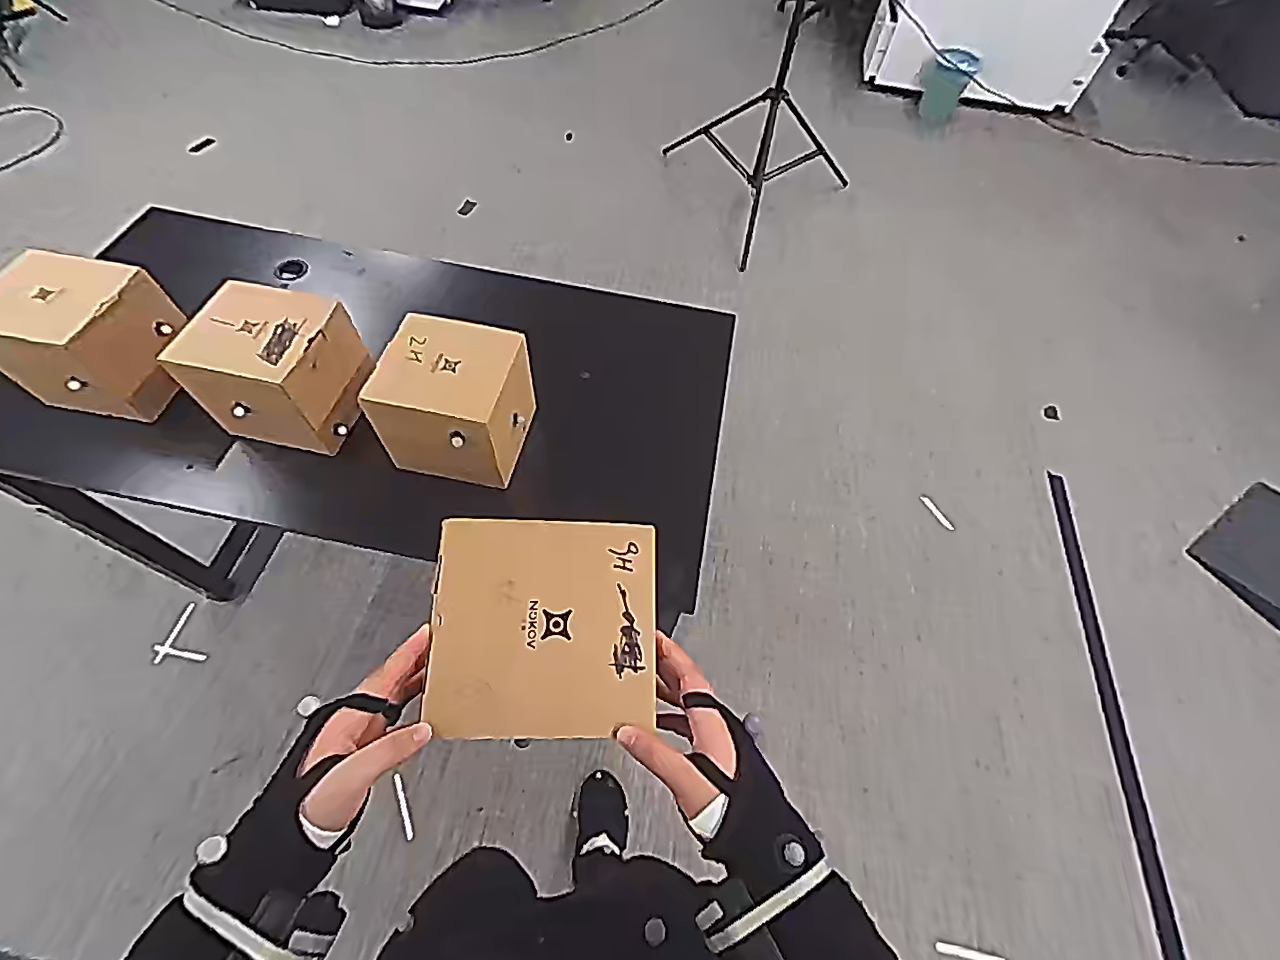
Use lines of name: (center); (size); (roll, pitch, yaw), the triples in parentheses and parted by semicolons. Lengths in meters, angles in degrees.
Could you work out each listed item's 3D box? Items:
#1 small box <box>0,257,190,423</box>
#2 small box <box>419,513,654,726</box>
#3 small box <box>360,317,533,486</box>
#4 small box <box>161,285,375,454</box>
small box: (-0.824, -0.205, 0.821); (0.179, 0.176, 0.168); (8, 58, 2)
small box: (-0.083, 0.134, 0.502); (0.179, 0.176, 0.168); (2, 71, -6)
small box: (-0.267, -0.108, 0.800); (0.179, 0.176, 0.168); (10, 58, 3)
small box: (-0.532, -0.158, 0.812); (0.179, 0.176, 0.168); (11, 59, 4)
